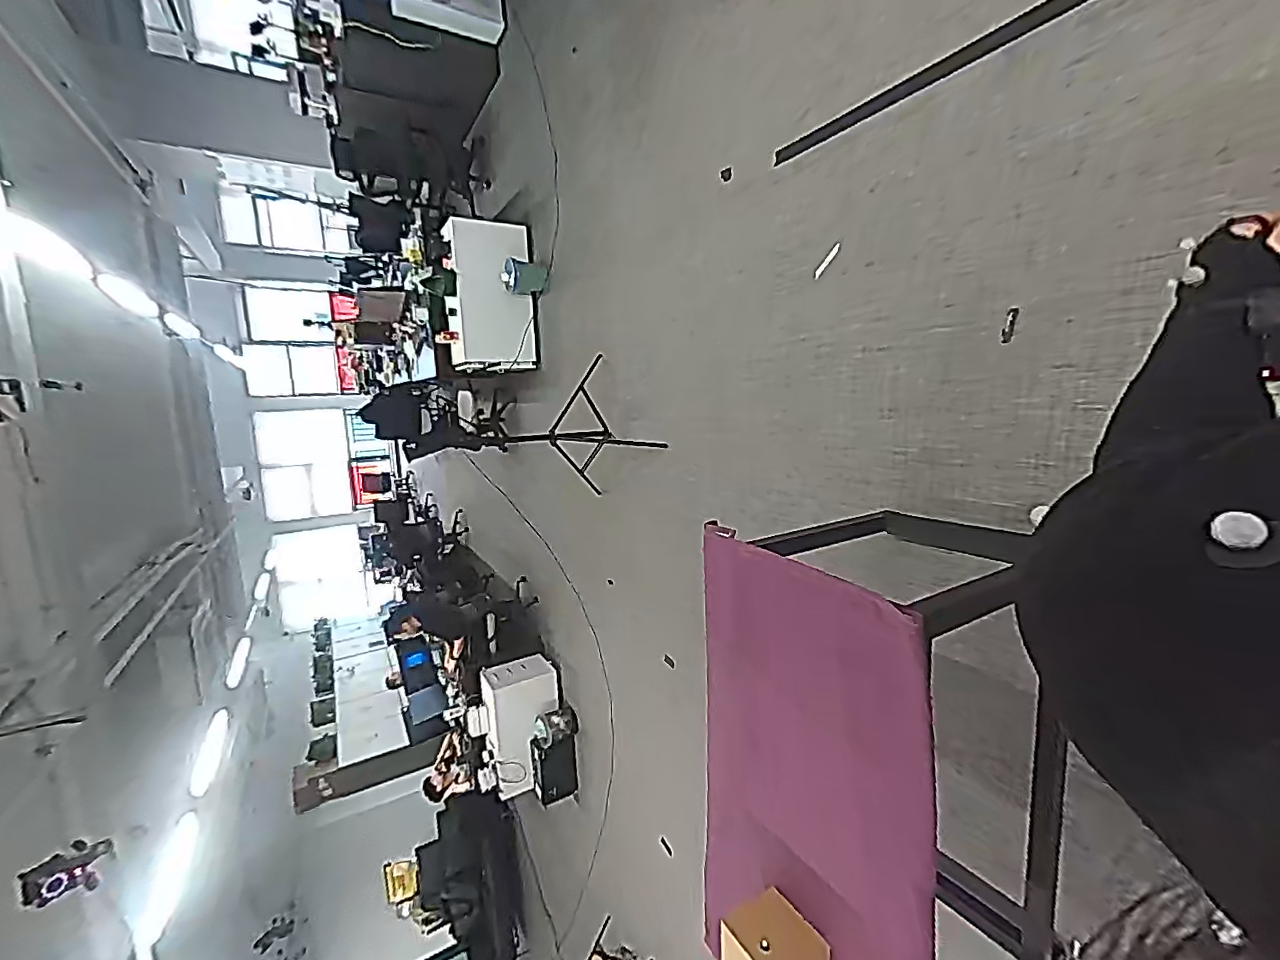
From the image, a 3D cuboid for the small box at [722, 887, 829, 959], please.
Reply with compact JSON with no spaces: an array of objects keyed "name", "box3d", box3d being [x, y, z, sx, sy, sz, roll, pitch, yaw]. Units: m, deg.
[{"name":"small box","box3d":[0.307,1.084,1.226,0.179,0.176,0.168,13,107,59]}]
